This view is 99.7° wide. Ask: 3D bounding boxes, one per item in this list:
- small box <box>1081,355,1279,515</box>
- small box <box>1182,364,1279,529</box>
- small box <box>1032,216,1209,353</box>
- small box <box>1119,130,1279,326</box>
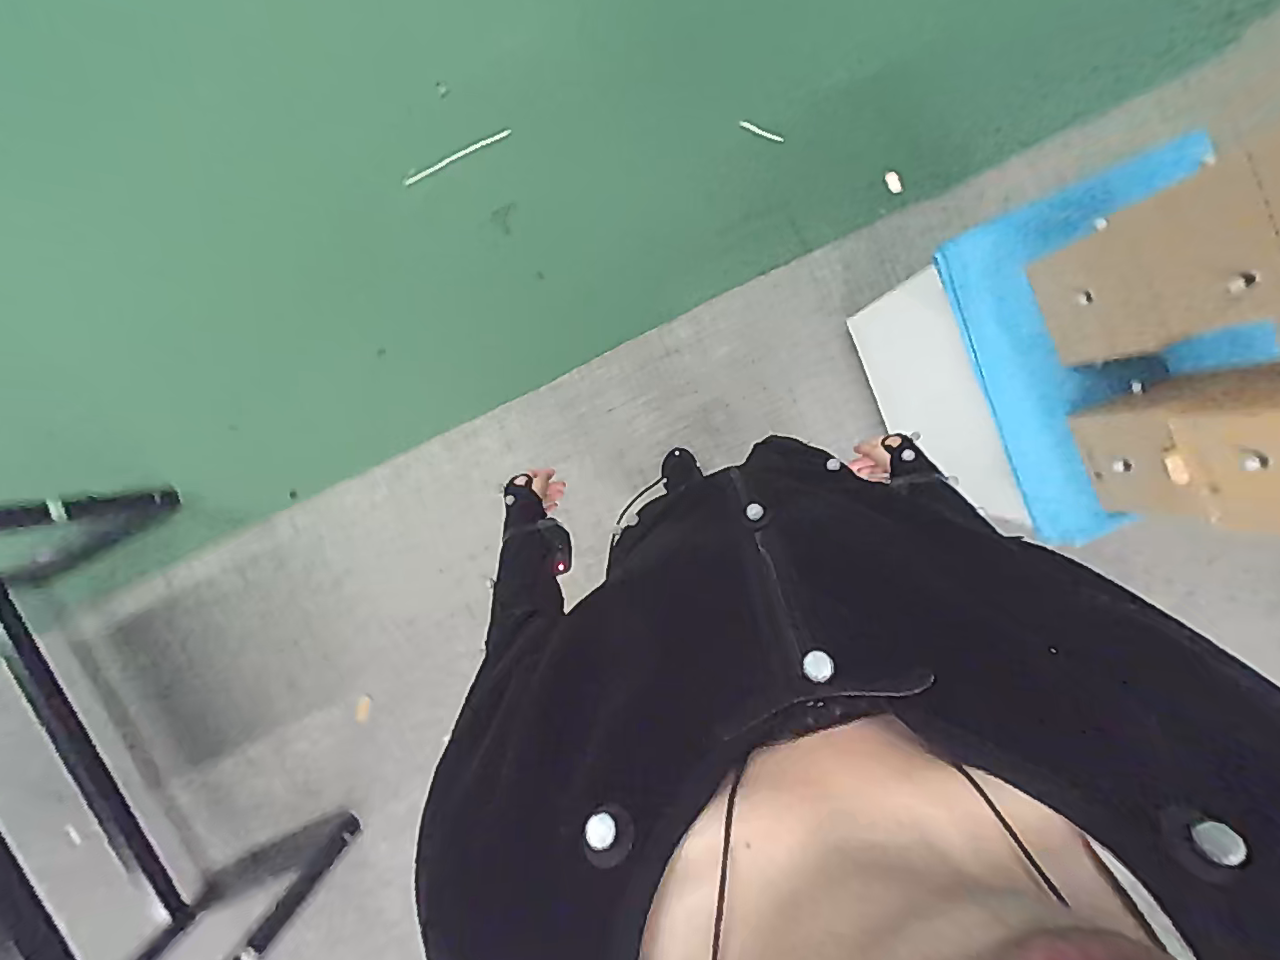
[{"bbox_3d":[0.794,-0.062,0.784,0.179,0.176,0.168,-23,93,4],"label":"small box"},{"bbox_3d":[0.794,-0.044,0.623,0.179,0.176,0.168,-25,93,2],"label":"small box"},{"bbox_3d":[0.715,-0.292,0.769,0.168,0.176,0.179,-23,93,3],"label":"small box"},{"bbox_3d":[0.705,-0.288,0.605,0.168,0.176,0.179,-23,93,3],"label":"small box"}]
